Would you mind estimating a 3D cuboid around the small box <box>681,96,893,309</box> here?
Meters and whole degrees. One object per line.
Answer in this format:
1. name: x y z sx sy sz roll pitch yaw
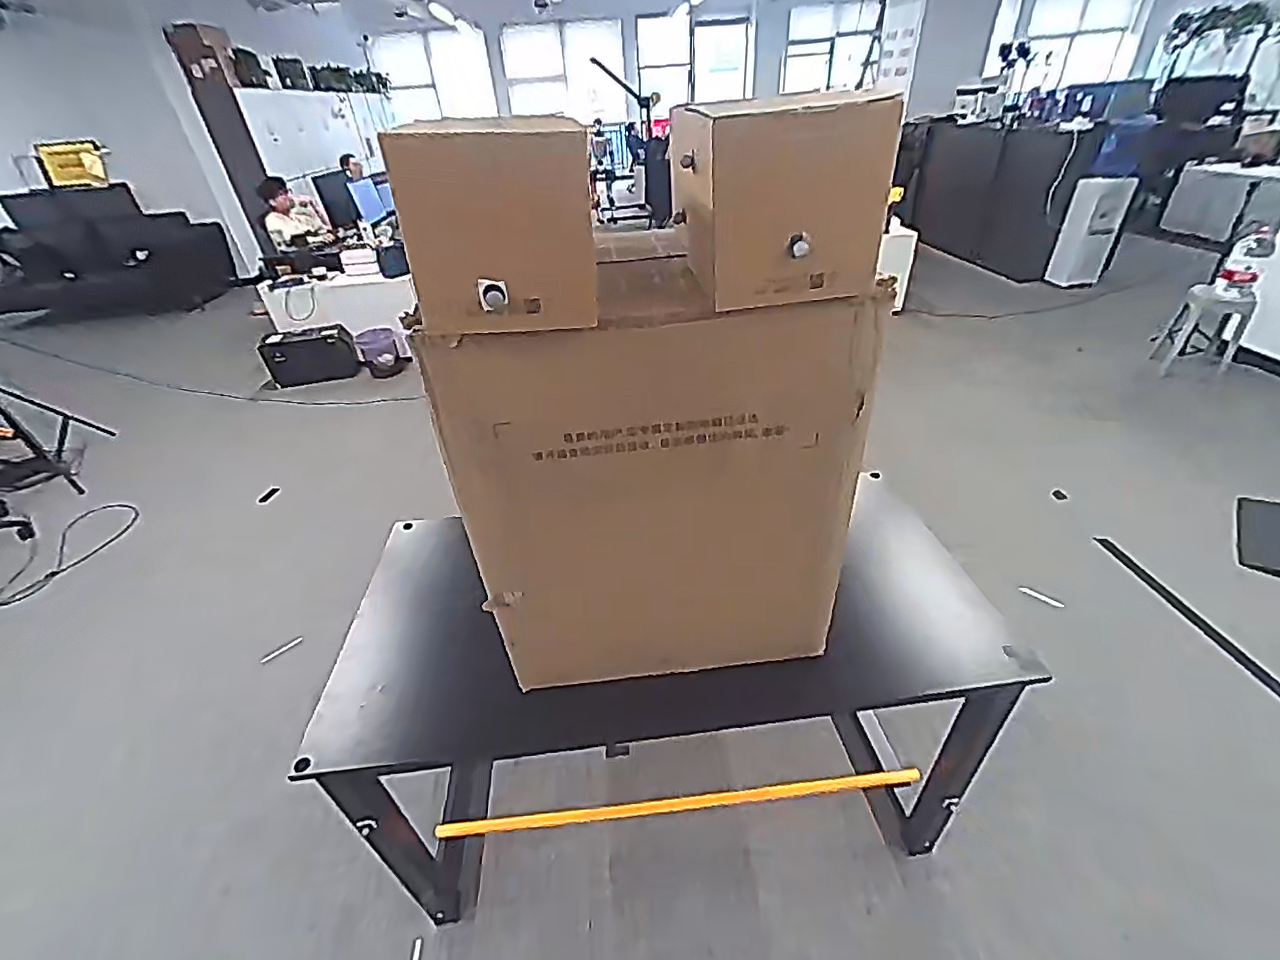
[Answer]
1. small box: 0.137 -0.296 0.575 0.168 0.176 0.179 -8 37 0
